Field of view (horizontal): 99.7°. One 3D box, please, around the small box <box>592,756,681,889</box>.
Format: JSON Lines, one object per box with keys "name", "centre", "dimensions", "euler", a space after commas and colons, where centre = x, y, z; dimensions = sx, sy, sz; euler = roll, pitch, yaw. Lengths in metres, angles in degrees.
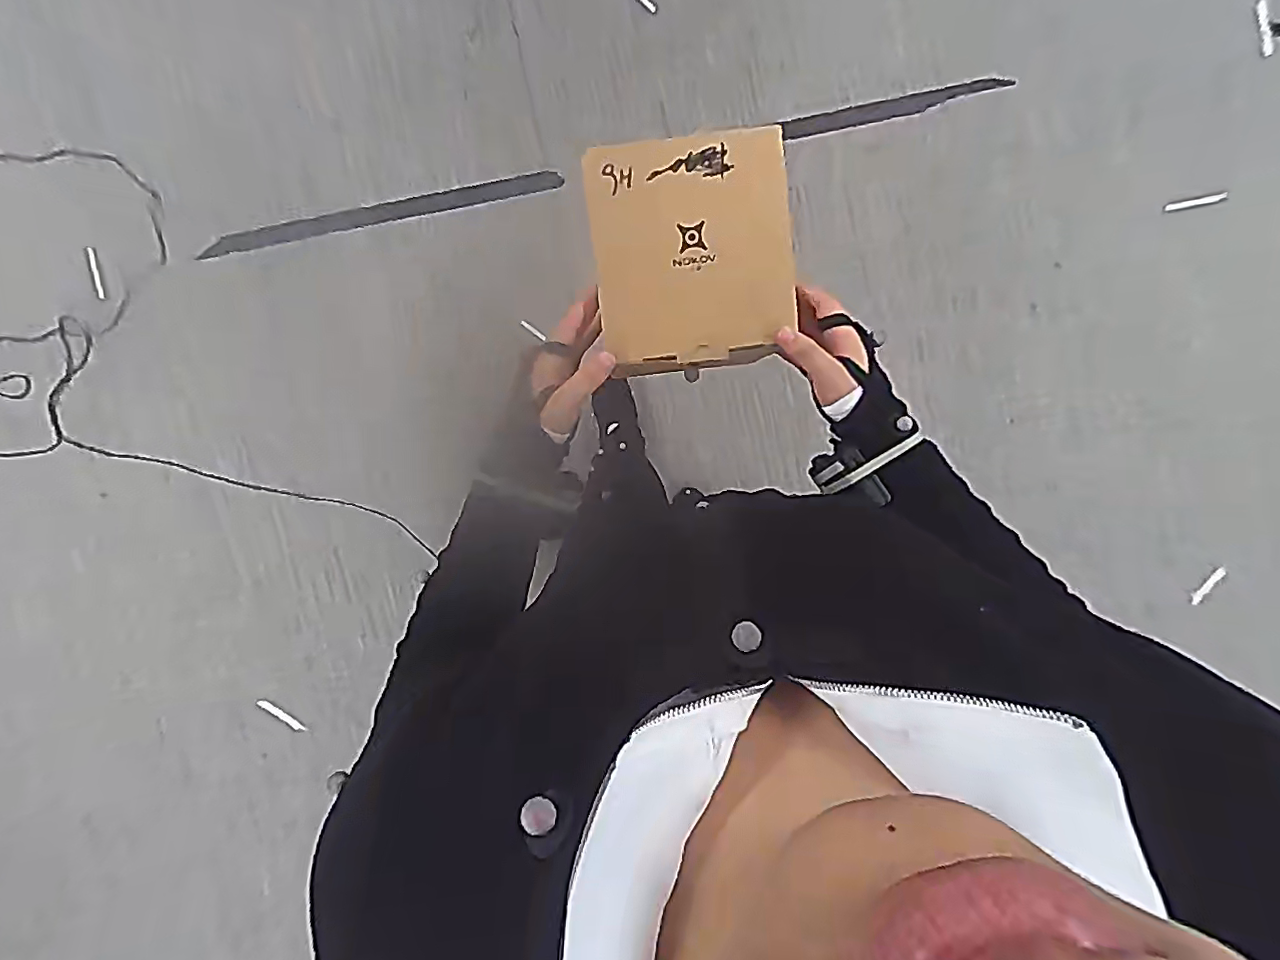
{"name": "small box", "centre": [-0.004, 0.747, 1.192], "dimensions": [0.168, 0.176, 0.179], "euler": [-9, 94, 2]}
